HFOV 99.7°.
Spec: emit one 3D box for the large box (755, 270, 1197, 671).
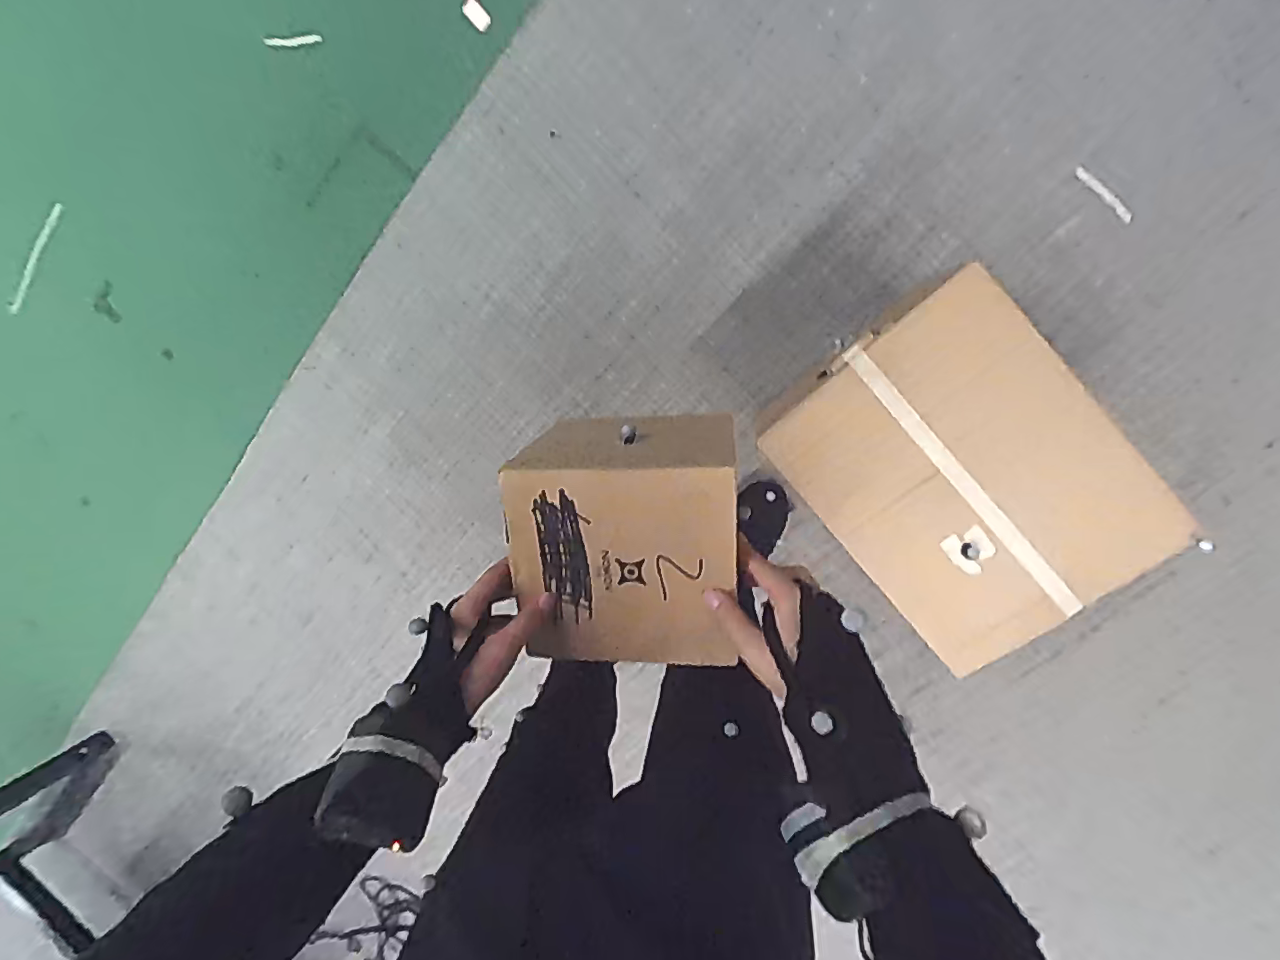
[{"bbox_3d":[0.414,-0.026,0.785,0.320,0.320,0.408,-41,92,17],"label":"large box"}]
